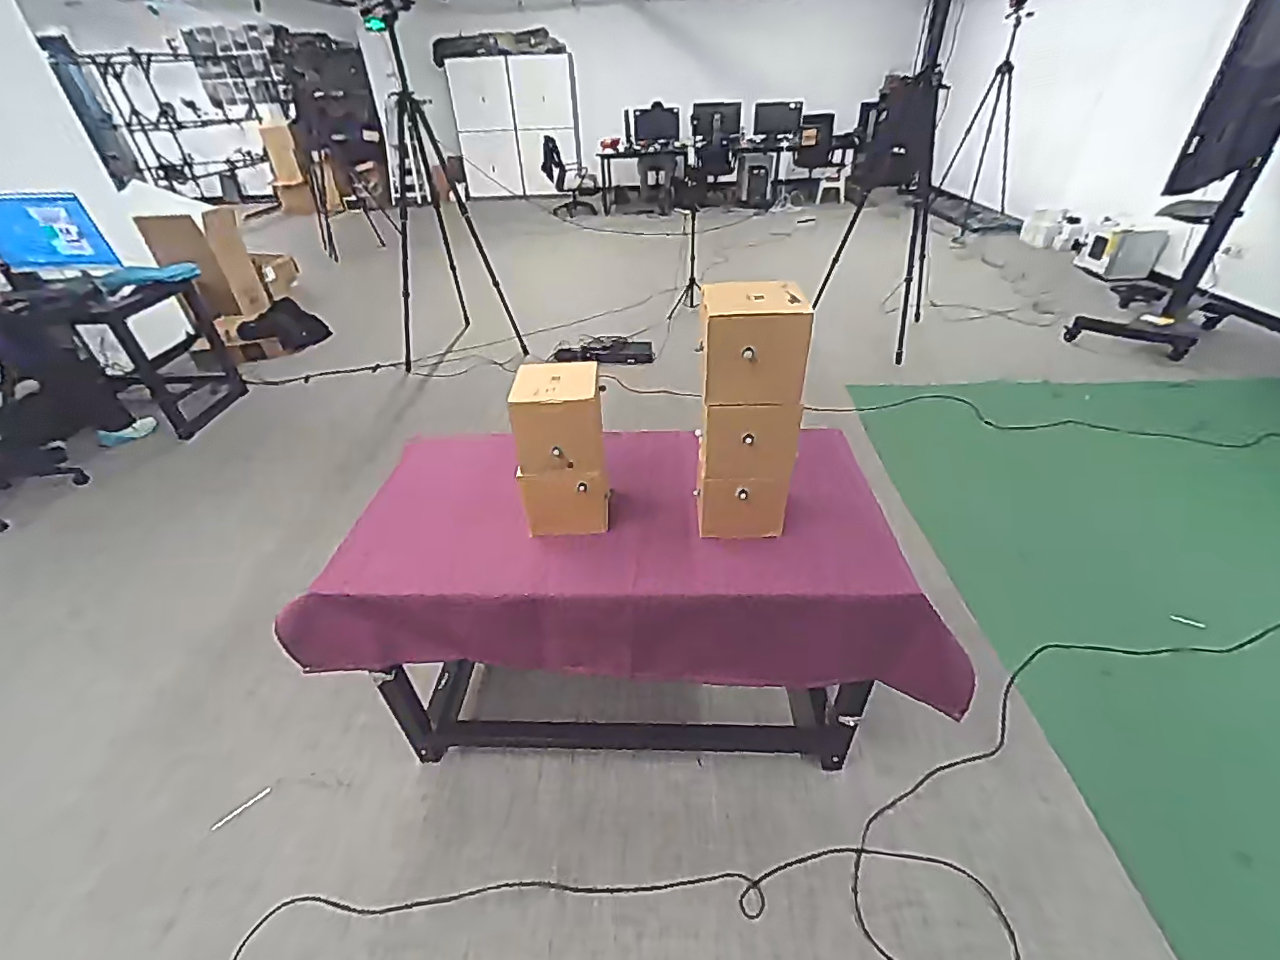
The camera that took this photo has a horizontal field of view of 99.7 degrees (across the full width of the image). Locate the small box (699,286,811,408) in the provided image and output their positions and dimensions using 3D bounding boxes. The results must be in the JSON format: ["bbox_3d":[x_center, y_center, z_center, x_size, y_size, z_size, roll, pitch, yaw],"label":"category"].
[{"bbox_3d":[0.202,-0.241,0.990,0.179,0.176,0.168,-2,37,4],"label":"small box"}]

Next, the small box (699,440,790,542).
[{"bbox_3d":[0.221,0.022,1.186,0.179,0.176,0.168,0,37,3],"label":"small box"}]

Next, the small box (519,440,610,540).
[{"bbox_3d":[-0.162,0.023,1.219,0.179,0.176,0.168,-3,35,-1],"label":"small box"}]

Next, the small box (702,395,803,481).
[{"bbox_3d":[0.217,-0.109,1.087,0.179,0.176,0.168,-1,37,4],"label":"small box"}]

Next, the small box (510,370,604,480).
[{"bbox_3d":[-0.164,-0.117,1.130,0.168,0.176,0.179,-3,36,0],"label":"small box"}]
